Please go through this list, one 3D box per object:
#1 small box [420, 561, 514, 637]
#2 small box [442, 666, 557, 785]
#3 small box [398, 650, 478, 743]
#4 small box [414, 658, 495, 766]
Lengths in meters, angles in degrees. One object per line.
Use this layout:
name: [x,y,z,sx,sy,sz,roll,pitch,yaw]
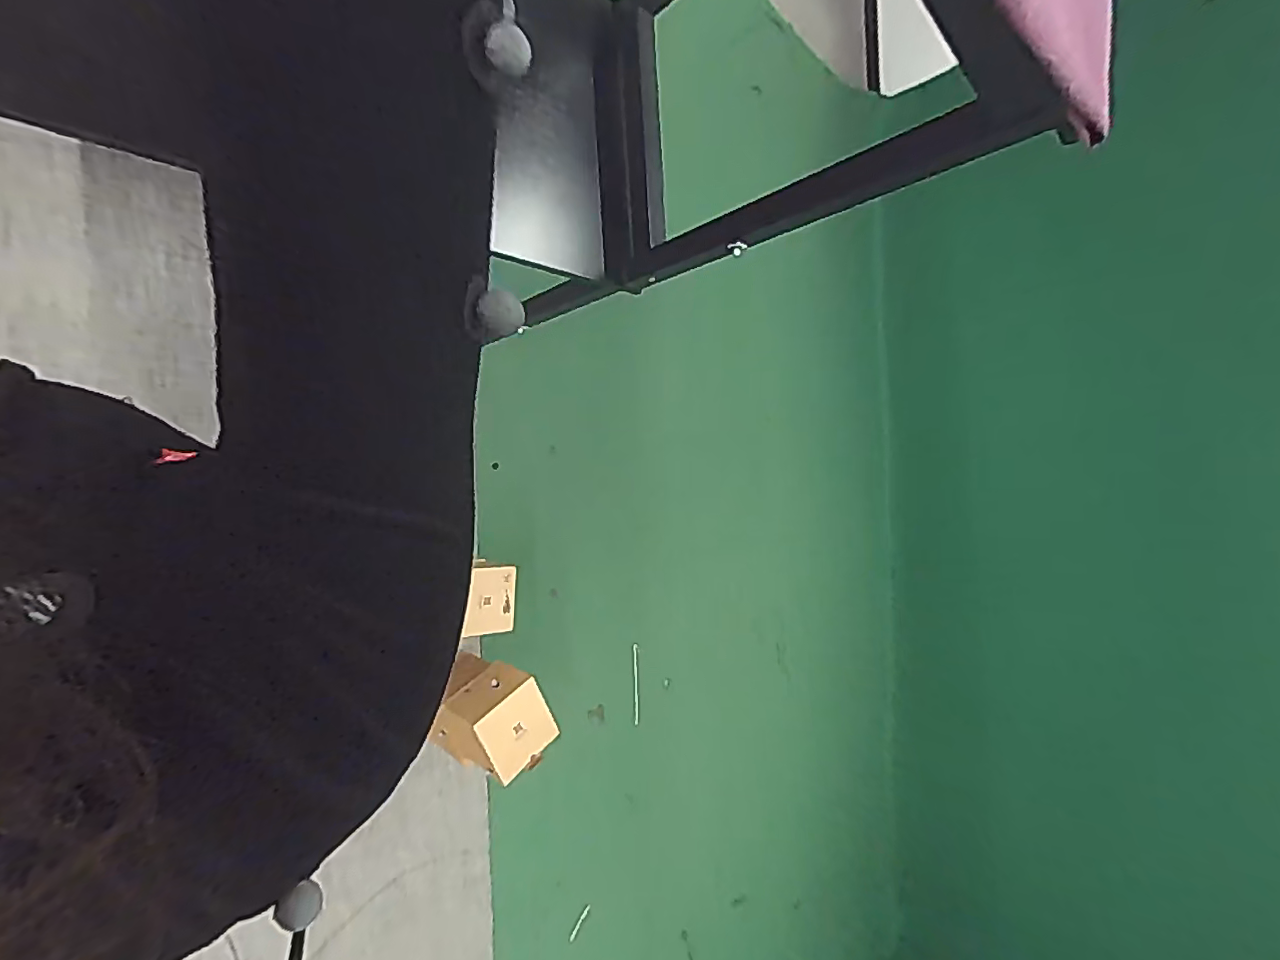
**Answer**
small box: [-0.444,0.298,1.380,0.179,0.176,0.168,7,84,-44]
small box: [-0.330,0.559,1.262,0.168,0.176,0.179,-34,113,-38]
small box: [-0.551,0.586,1.500,0.168,0.176,0.179,-12,98,-43]
small box: [-0.446,0.576,1.376,0.168,0.176,0.179,-28,109,-39]
